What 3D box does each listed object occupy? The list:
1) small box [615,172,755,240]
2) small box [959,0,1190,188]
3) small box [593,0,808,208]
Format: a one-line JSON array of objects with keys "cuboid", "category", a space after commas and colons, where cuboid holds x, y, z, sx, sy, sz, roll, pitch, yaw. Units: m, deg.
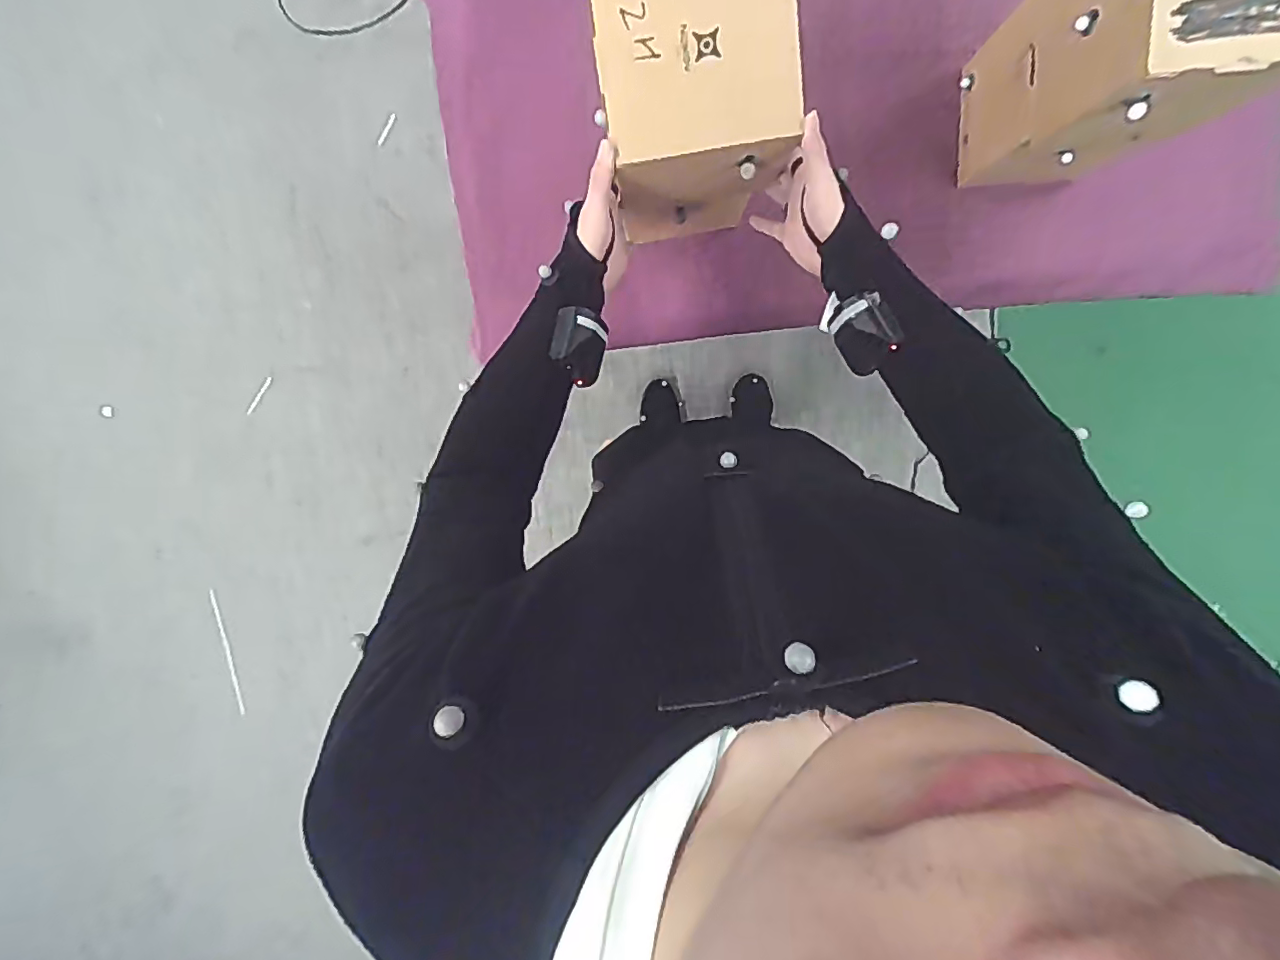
[{"cuboid": [0.054, -0.449, 0.752, 0.179, 0.176, 0.168, -7, 100, 5], "category": "small box"}, {"cuboid": [0.548, -0.502, 0.709, 0.179, 0.176, 0.168, -3, 100, 4], "category": "small box"}, {"cuboid": [0.055, -0.389, 0.539, 0.179, 0.176, 0.168, -7, 103, 4], "category": "small box"}]
